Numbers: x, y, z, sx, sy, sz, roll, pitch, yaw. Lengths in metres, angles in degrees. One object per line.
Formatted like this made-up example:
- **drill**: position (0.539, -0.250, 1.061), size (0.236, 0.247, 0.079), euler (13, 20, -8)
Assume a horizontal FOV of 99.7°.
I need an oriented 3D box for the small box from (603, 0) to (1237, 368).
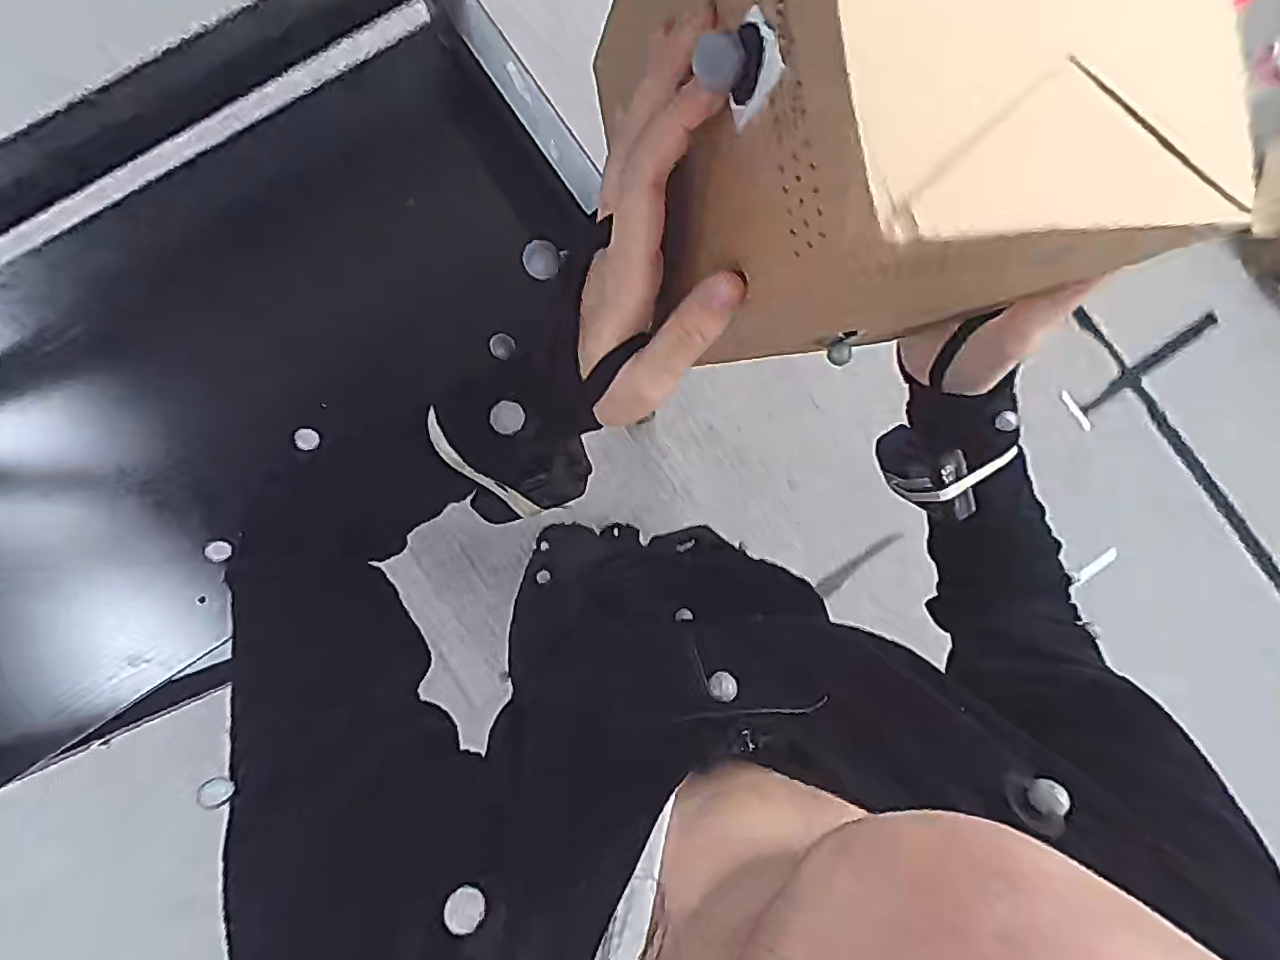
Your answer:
- **small box**: position (0.100, -0.159, 0.240), size (0.179, 0.176, 0.168), euler (-10, 89, -20)
